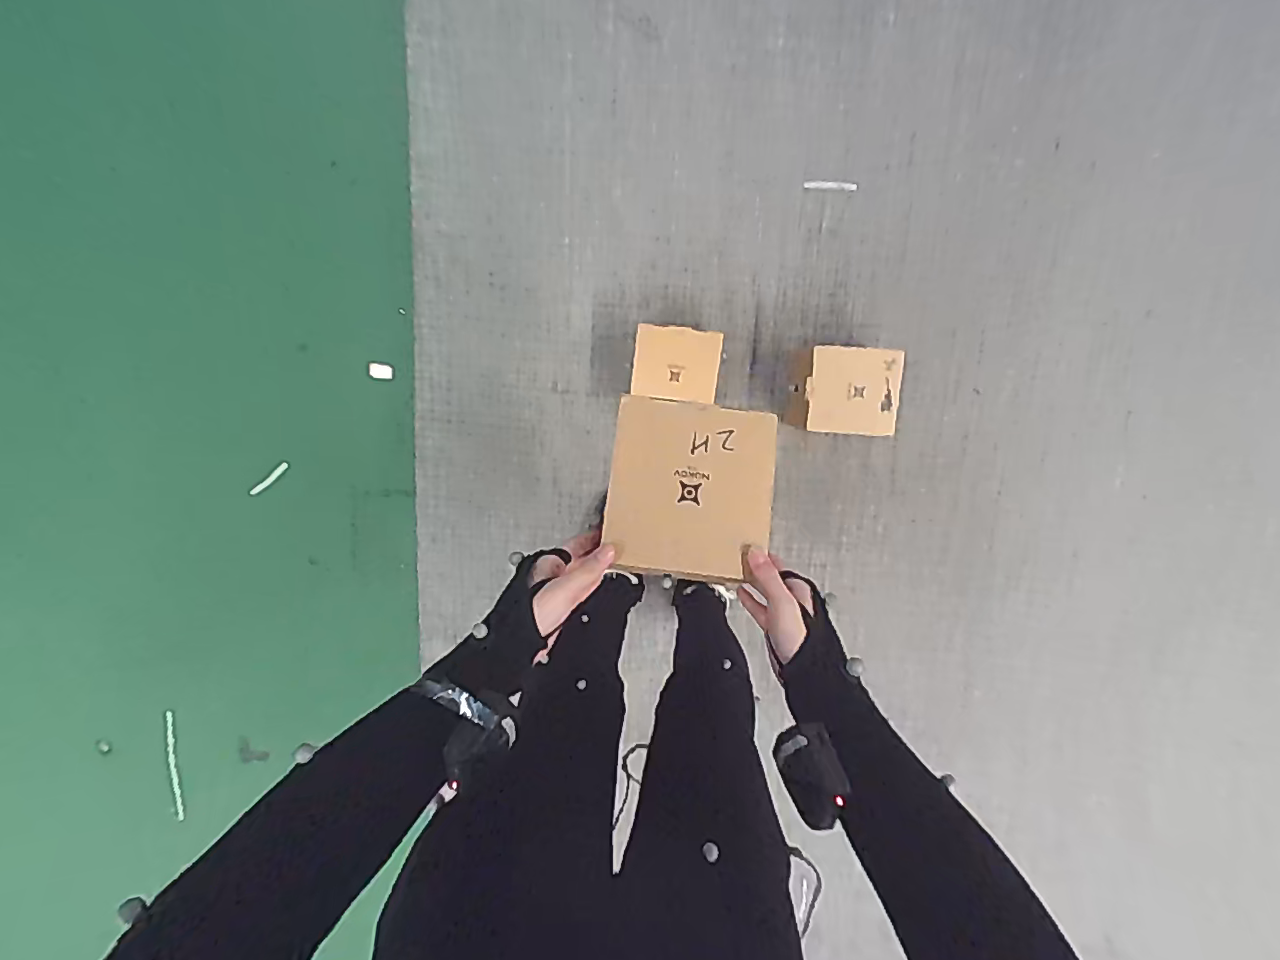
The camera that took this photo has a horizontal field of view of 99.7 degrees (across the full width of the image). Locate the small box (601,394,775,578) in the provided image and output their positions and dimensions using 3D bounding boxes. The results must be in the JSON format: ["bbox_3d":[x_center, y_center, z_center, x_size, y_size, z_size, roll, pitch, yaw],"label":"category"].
[{"bbox_3d":[0.050,0.018,0.631,0.168,0.176,0.179,7,78,-1],"label":"small box"}]

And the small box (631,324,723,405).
[{"bbox_3d":[0.072,-0.218,1.120,0.168,0.176,0.179,6,99,0],"label":"small box"}]

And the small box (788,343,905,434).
[{"bbox_3d":[0.414,-0.188,1.115,0.179,0.176,0.168,3,100,1],"label":"small box"}]
